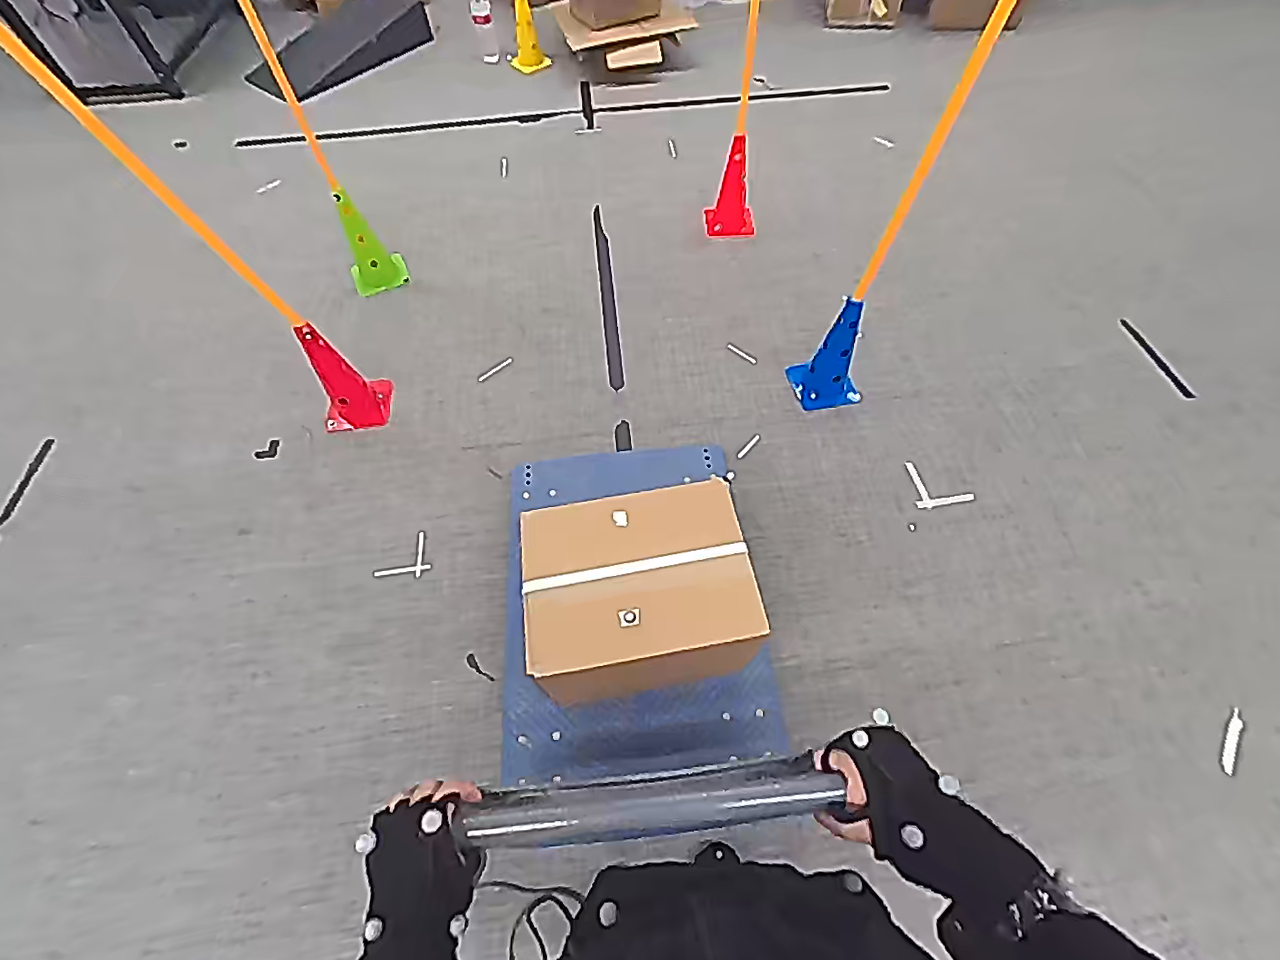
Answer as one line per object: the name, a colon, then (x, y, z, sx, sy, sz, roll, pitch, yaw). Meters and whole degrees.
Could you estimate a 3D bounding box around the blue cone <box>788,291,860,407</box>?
blue cone: (0.607, -0.412, 1.667, 0.193, 0.380, 0.192, -9, 58, -5)

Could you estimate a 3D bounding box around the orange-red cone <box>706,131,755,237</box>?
orange-red cone: (0.377, -1.170, 2.116, 0.199, 0.360, 0.198, 0, 59, 0)
